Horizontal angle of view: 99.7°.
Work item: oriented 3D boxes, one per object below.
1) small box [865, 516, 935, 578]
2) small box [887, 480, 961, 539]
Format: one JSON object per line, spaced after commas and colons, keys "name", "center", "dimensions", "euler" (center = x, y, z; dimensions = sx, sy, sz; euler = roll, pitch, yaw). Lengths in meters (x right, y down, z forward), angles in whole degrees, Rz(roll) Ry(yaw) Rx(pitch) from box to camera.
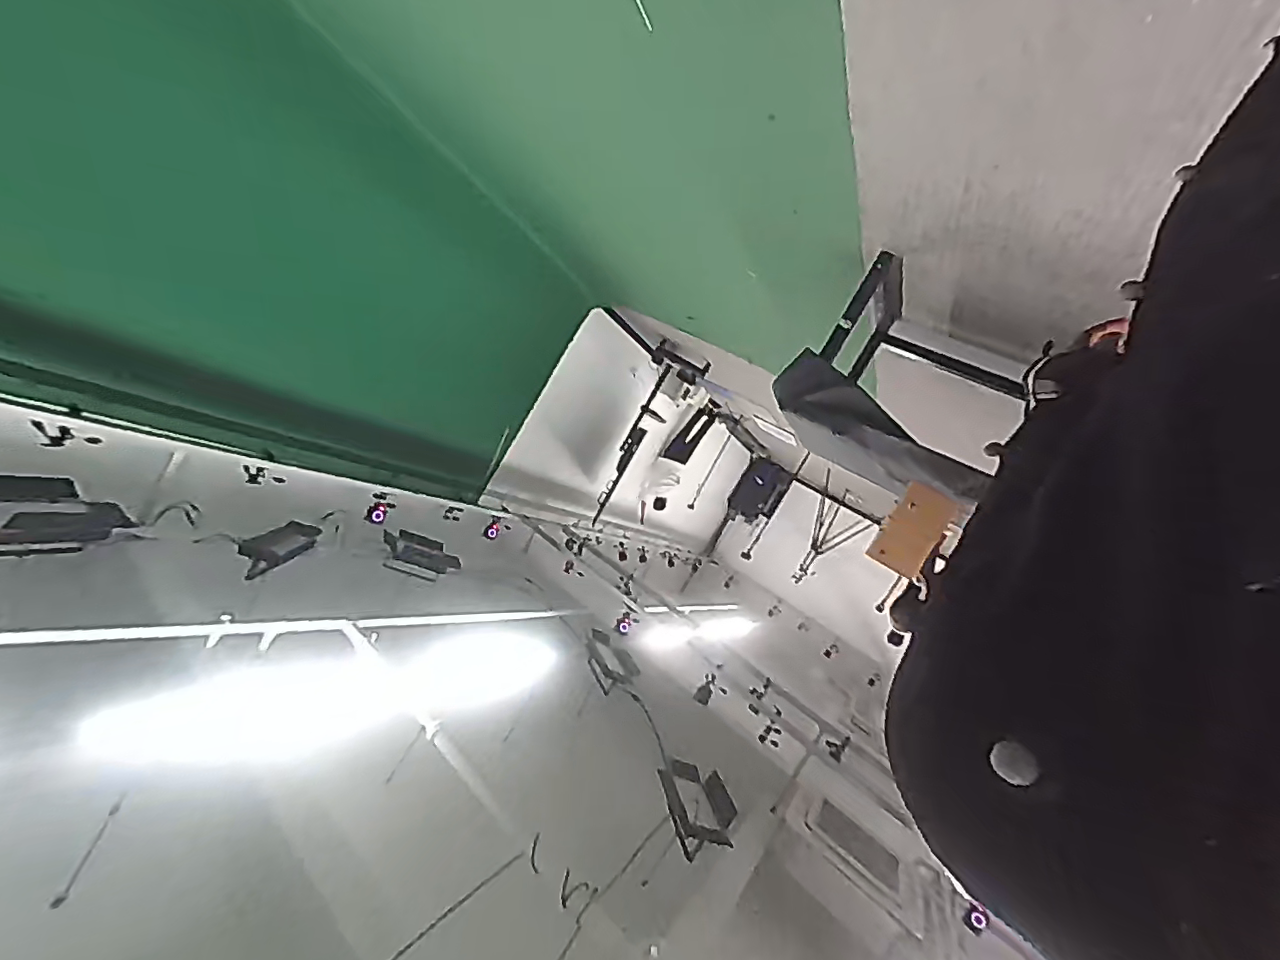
{"name": "small box", "center": [0.986, 0.249, 2.056], "dimensions": [0.179, 0.176, 0.168], "euler": [33, -175, 19]}
{"name": "small box", "center": [1.067, 0.109, 2.040], "dimensions": [0.179, 0.176, 0.168], "euler": [31, -175, 19]}
